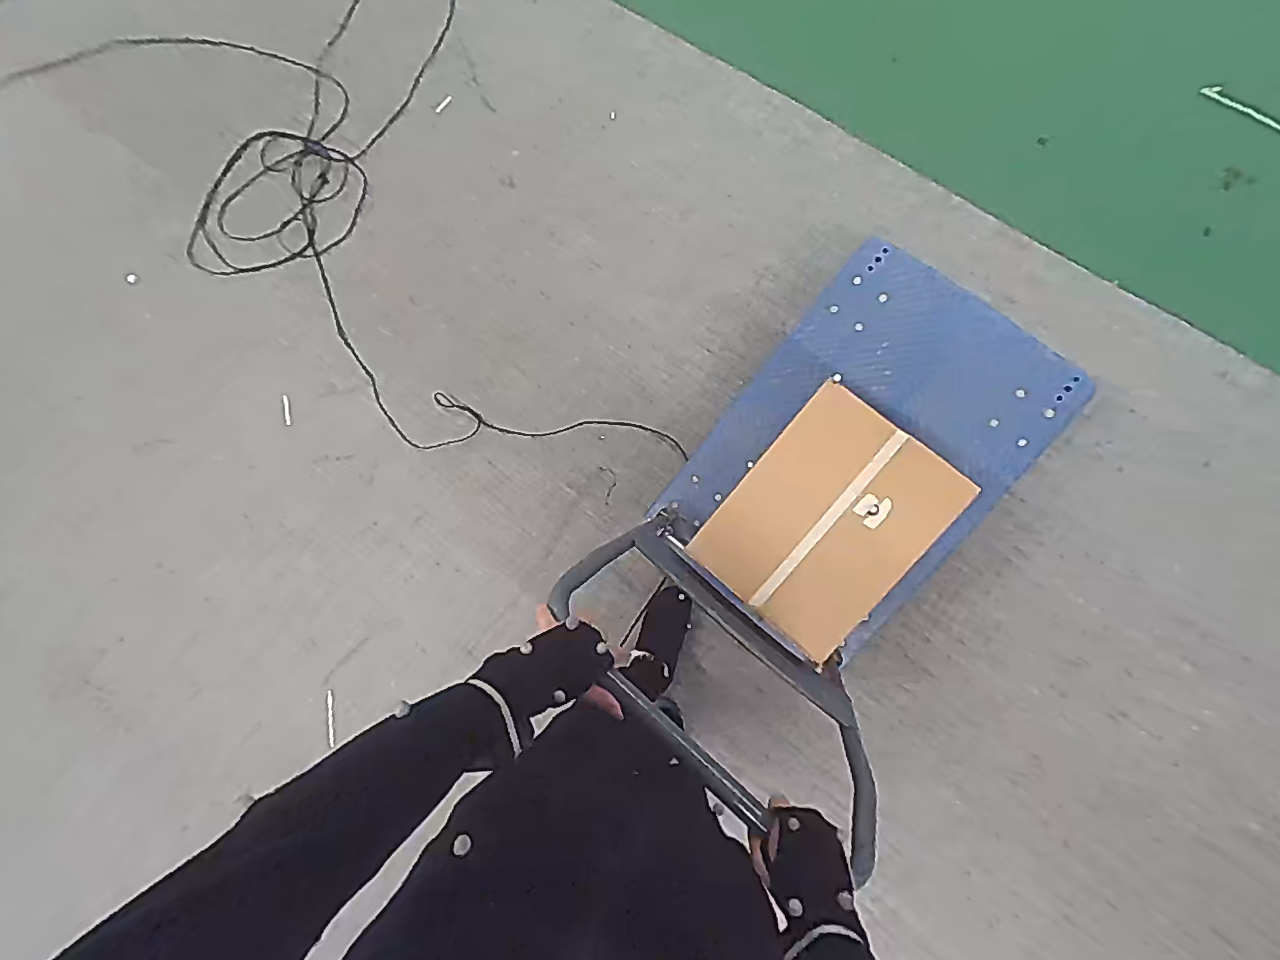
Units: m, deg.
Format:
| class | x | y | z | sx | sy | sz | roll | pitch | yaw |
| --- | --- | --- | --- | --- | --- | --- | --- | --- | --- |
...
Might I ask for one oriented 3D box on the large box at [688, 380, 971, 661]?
| class | x | y | z | sx | sy | sz | roll | pitch | yaw |
| --- | --- | --- | --- | --- | --- | --- | --- | --- | --- |
| large box | 0.351 | 0.075 | 1.093 | 0.320 | 0.320 | 0.408 | 40 | 97 | 10 |
